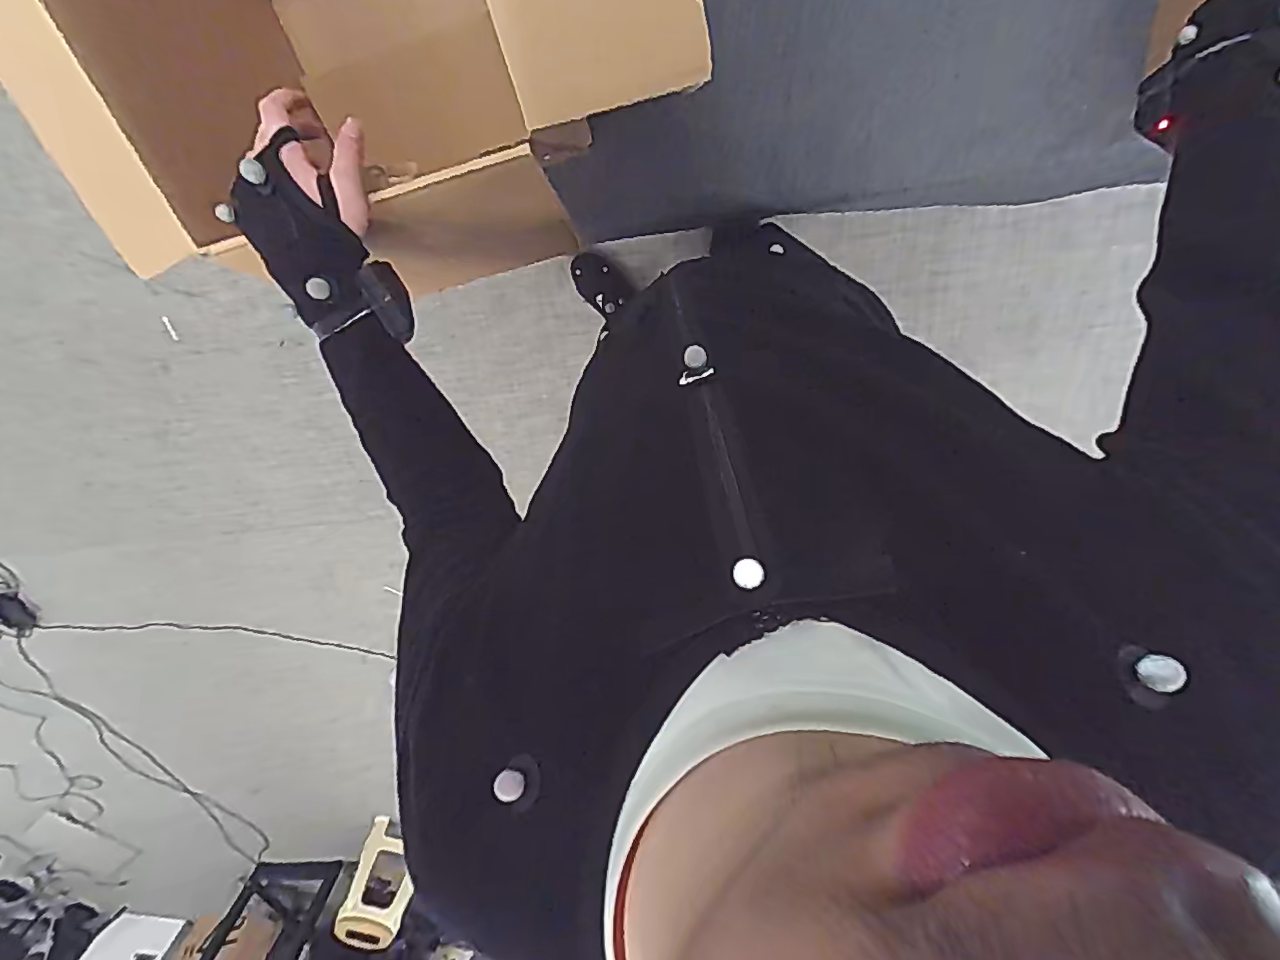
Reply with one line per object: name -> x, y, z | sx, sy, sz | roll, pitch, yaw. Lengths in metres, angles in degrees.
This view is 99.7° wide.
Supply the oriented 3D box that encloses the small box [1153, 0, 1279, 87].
small box -> 0.602, -0.462, 0.464 | 0.168, 0.176, 0.179 | -7, 119, 12
